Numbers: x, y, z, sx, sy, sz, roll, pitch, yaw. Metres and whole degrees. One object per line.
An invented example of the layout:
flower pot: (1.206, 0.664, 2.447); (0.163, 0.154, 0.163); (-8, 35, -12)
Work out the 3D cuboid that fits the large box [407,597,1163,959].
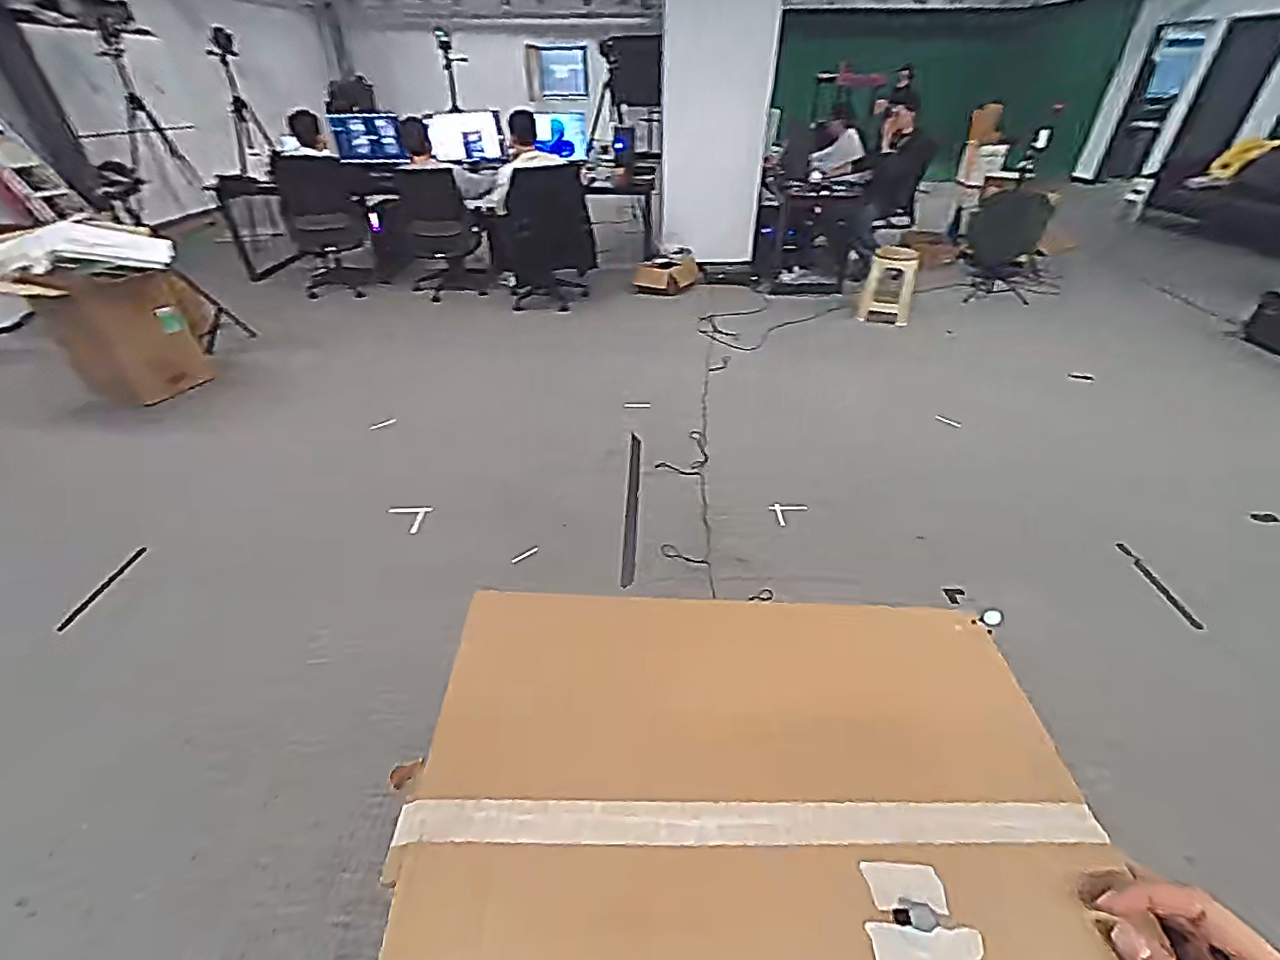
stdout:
large box: (0.066, 0.315, 0.420); (0.408, 0.320, 0.320); (4, 42, -4)
